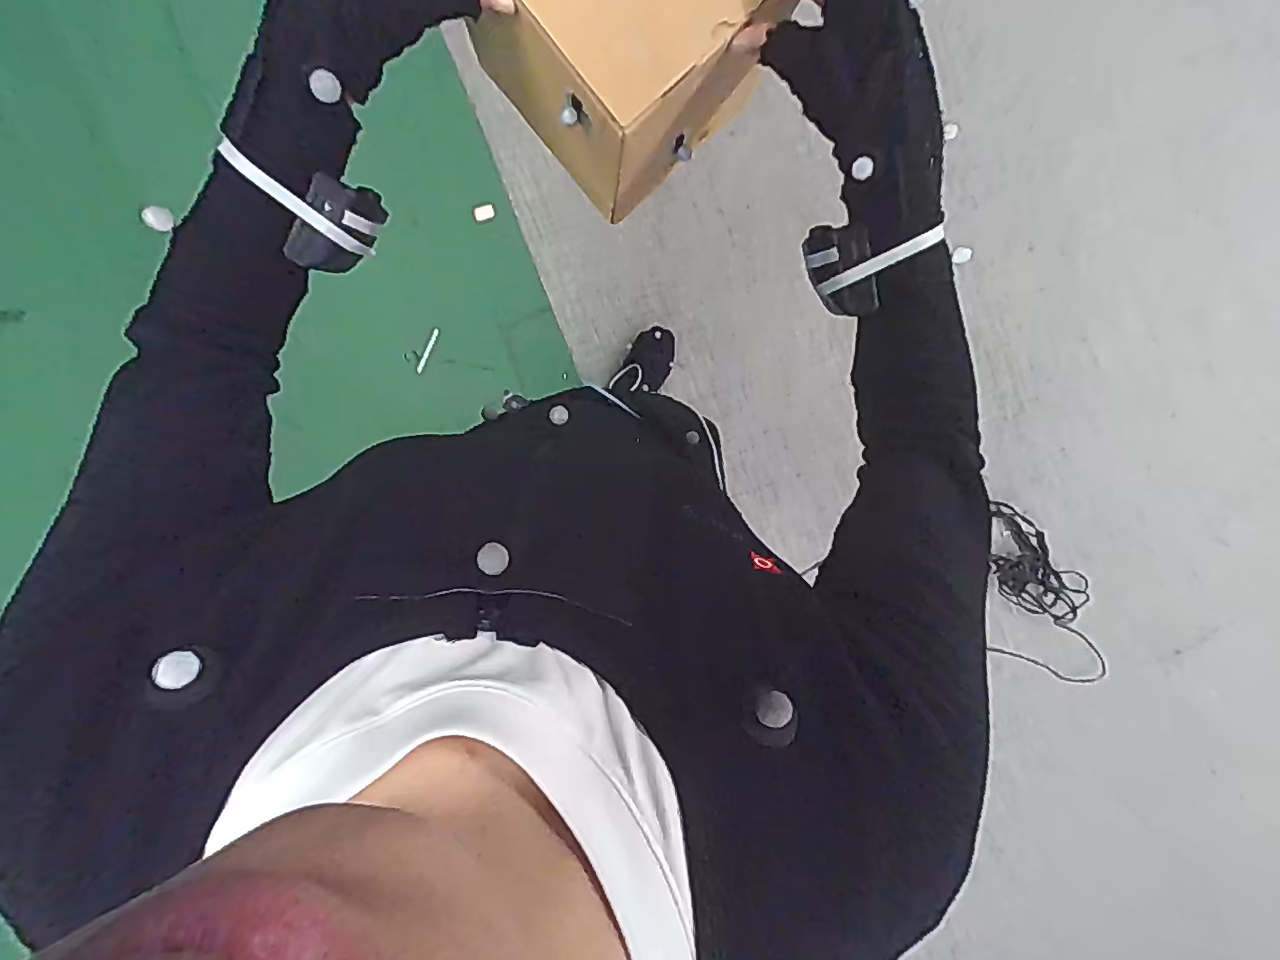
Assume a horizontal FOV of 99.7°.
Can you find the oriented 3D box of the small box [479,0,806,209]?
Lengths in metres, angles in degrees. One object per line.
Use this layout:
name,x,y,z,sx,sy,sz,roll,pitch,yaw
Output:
small box,-0.008,-0.343,0.397,0.168,0.176,0.179,-41,100,1
